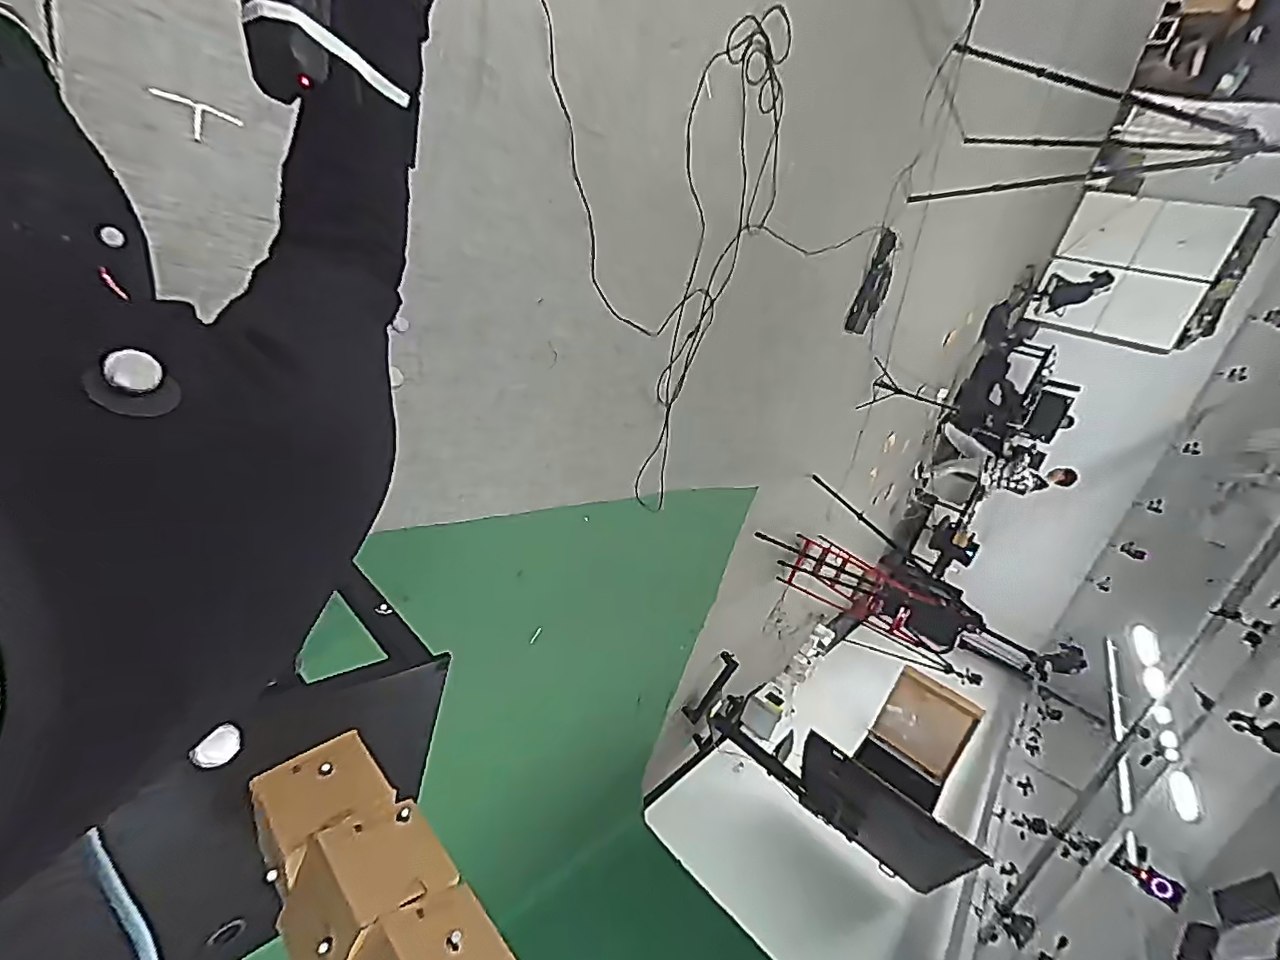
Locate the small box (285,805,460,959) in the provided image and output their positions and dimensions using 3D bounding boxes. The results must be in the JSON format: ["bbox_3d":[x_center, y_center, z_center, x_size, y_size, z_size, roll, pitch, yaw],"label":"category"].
[{"bbox_3d":[-0.426,0.655,0.856,0.168,0.176,0.179,15,102,-55],"label":"small box"}]

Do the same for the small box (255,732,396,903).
[{"bbox_3d":[-0.546,0.587,0.944,0.168,0.176,0.179,-16,126,-46],"label":"small box"}]

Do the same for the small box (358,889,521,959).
[{"bbox_3d":[-0.308,0.730,0.768,0.179,0.176,0.168,-60,145,-3],"label":"small box"}]
